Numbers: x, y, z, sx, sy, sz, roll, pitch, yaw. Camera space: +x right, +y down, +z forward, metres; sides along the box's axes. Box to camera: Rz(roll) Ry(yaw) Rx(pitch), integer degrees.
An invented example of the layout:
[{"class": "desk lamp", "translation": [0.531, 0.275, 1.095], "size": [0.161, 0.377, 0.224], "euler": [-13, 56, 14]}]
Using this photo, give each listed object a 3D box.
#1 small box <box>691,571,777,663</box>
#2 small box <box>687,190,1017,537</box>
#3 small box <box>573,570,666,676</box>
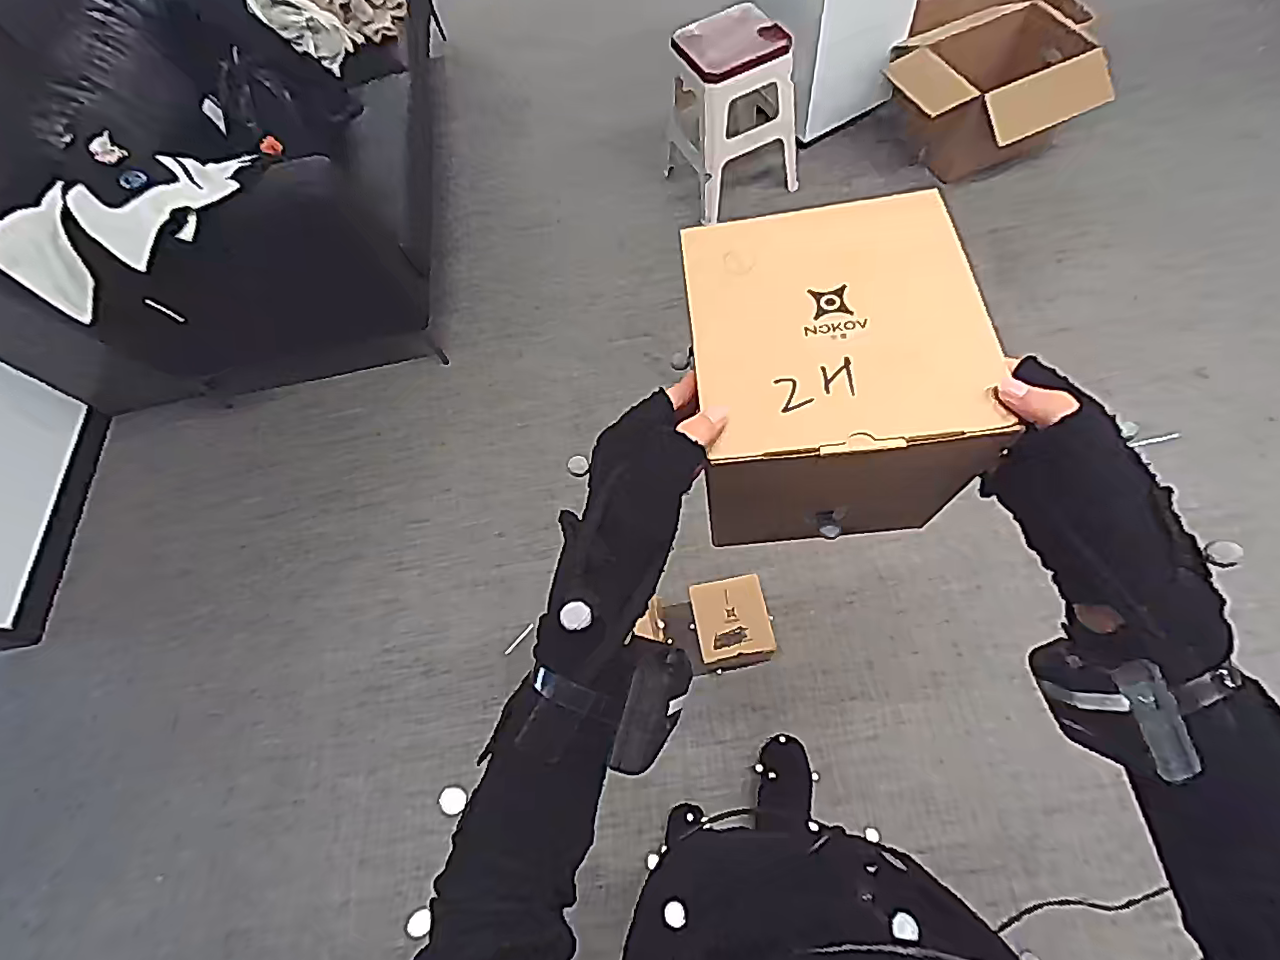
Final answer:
[{"class": "small box", "translation": [0.223, 0.335, 1.296], "size": [0.168, 0.176, 0.179], "euler": [-12, 63, 3]}, {"class": "small box", "translation": [0.125, -0.070, 0.398], "size": [0.168, 0.176, 0.179], "euler": [-6, 67, 7]}, {"class": "small box", "translation": [-0.042, 0.313, 1.169], "size": [0.168, 0.176, 0.179], "euler": [-11, 63, 4]}]
